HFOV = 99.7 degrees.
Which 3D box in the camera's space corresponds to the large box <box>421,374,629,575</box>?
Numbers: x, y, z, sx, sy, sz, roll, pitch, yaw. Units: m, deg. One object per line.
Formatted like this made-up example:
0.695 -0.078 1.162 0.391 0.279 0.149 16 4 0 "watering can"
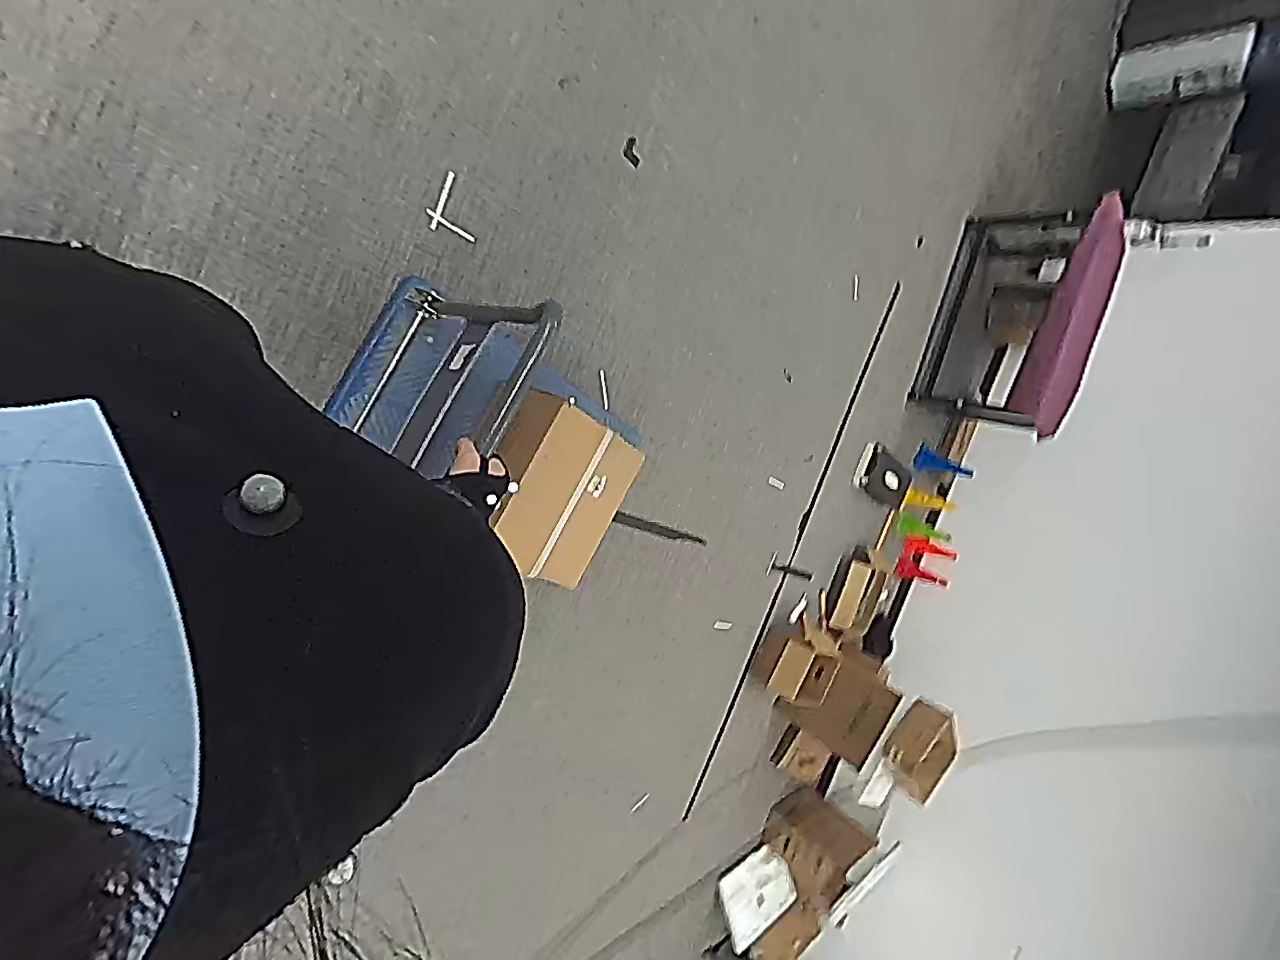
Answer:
-0.303 -0.018 1.427 0.320 0.320 0.408 33 82 -46 "large box"
